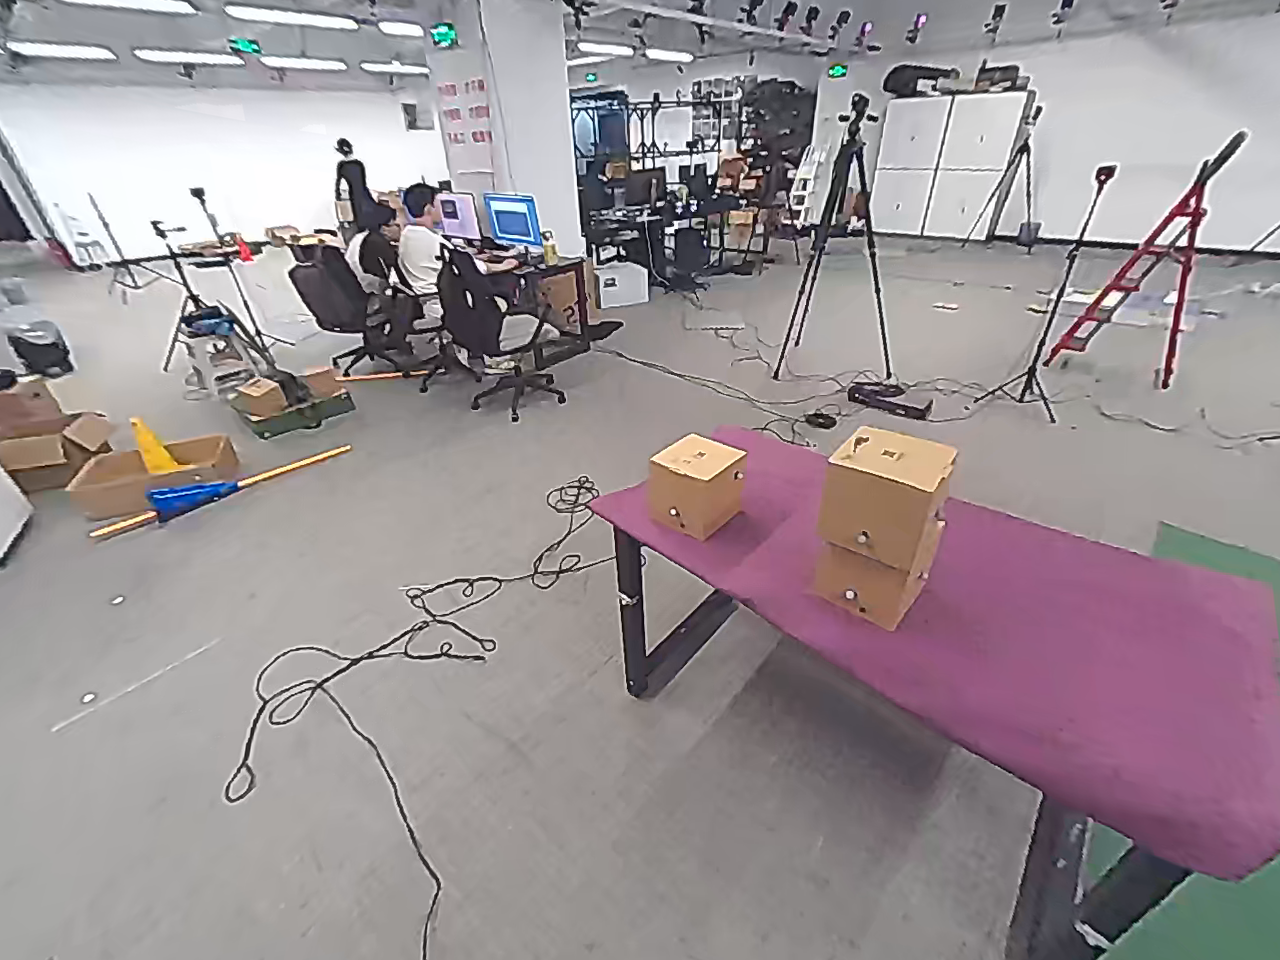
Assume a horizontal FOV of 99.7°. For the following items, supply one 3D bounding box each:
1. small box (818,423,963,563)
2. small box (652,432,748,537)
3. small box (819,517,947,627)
[{"bbox_3d":[0.441,0.023,0.968,0.179,0.176,0.168,22,40,34],"label":"small box"},{"bbox_3d":[0.142,0.009,1.313,0.168,0.176,0.179,23,39,35],"label":"small box"},{"bbox_3d":[0.472,0.152,1.068,0.168,0.176,0.179,24,41,37],"label":"small box"}]
